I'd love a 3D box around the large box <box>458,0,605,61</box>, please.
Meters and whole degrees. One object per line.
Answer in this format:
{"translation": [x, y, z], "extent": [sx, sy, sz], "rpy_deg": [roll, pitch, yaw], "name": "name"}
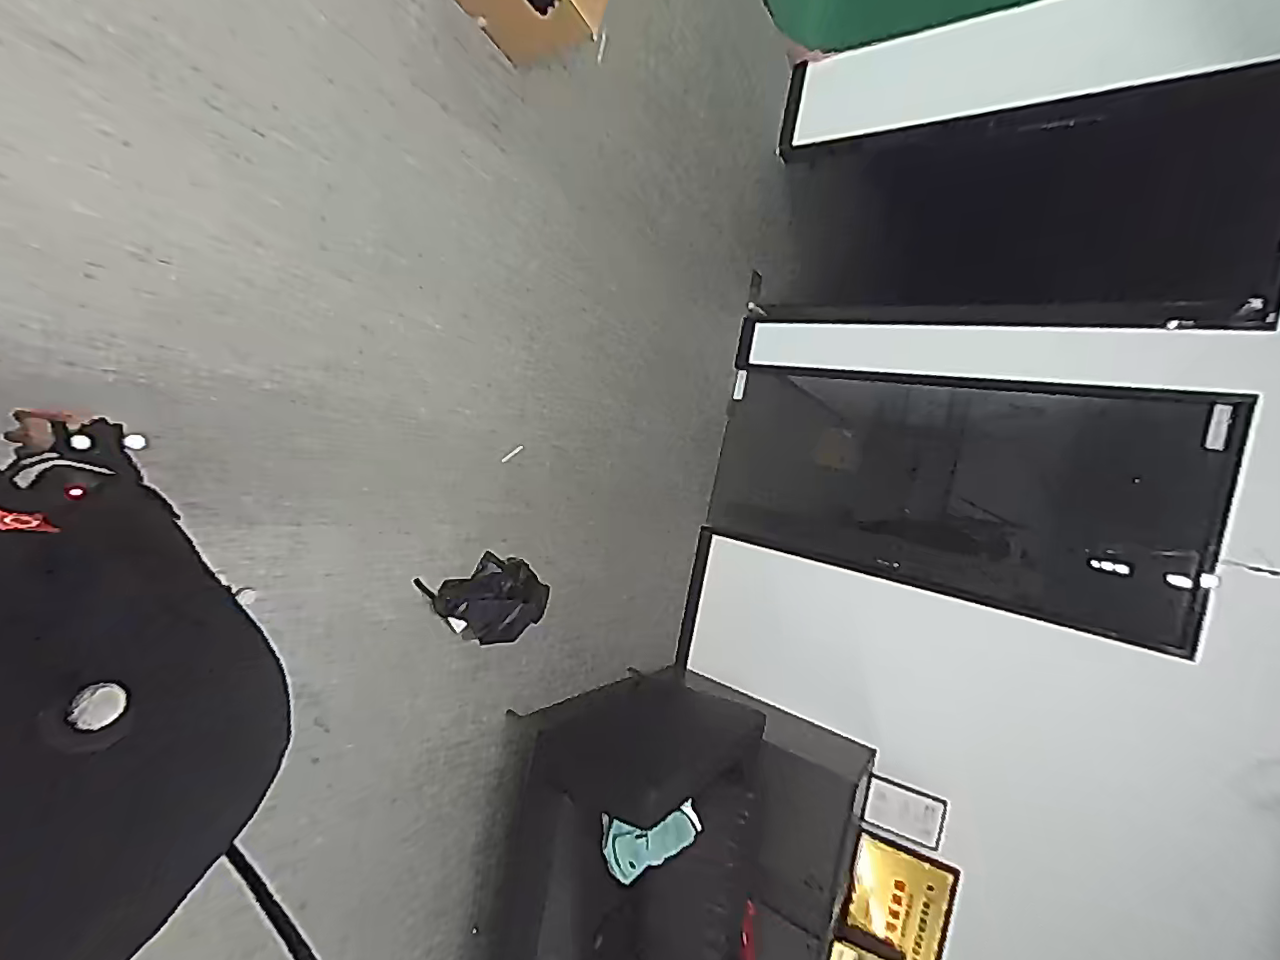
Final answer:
{"translation": [-0.272, -1.407, 1.383], "extent": [0.320, 0.320, 0.408], "rpy_deg": [17, 88, -55], "name": "large box"}
